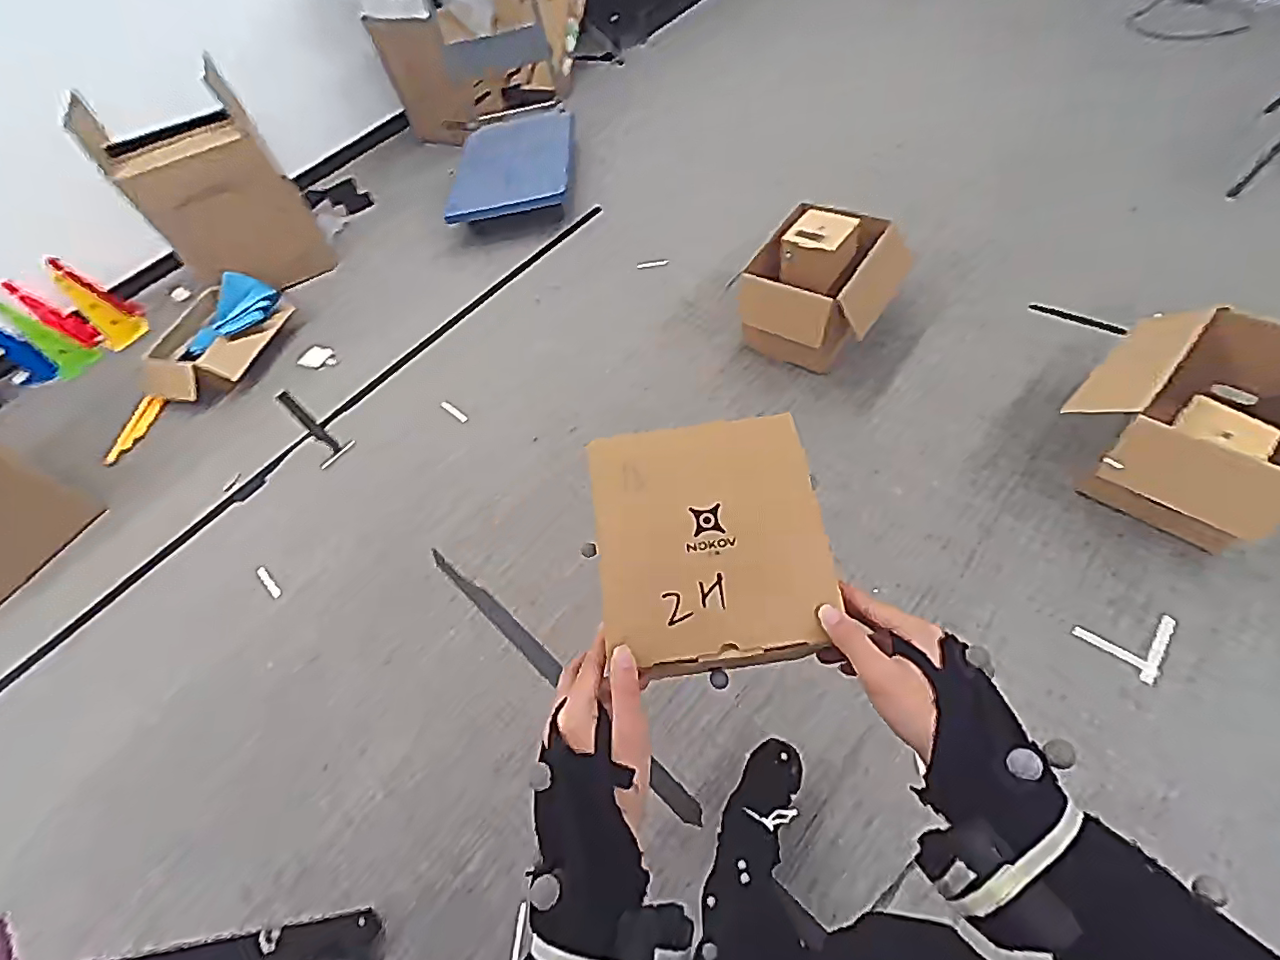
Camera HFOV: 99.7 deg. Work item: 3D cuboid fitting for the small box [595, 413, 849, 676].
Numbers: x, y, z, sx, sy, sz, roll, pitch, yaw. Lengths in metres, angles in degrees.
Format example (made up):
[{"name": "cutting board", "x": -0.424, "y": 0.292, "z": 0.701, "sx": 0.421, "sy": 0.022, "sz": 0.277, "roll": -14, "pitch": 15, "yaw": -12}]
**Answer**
[{"name": "small box", "x": 0.056, "y": 0.065, "z": 0.471, "sx": 0.168, "sy": 0.176, "sz": 0.179, "roll": -7, "pitch": 66, "yaw": 1}]
